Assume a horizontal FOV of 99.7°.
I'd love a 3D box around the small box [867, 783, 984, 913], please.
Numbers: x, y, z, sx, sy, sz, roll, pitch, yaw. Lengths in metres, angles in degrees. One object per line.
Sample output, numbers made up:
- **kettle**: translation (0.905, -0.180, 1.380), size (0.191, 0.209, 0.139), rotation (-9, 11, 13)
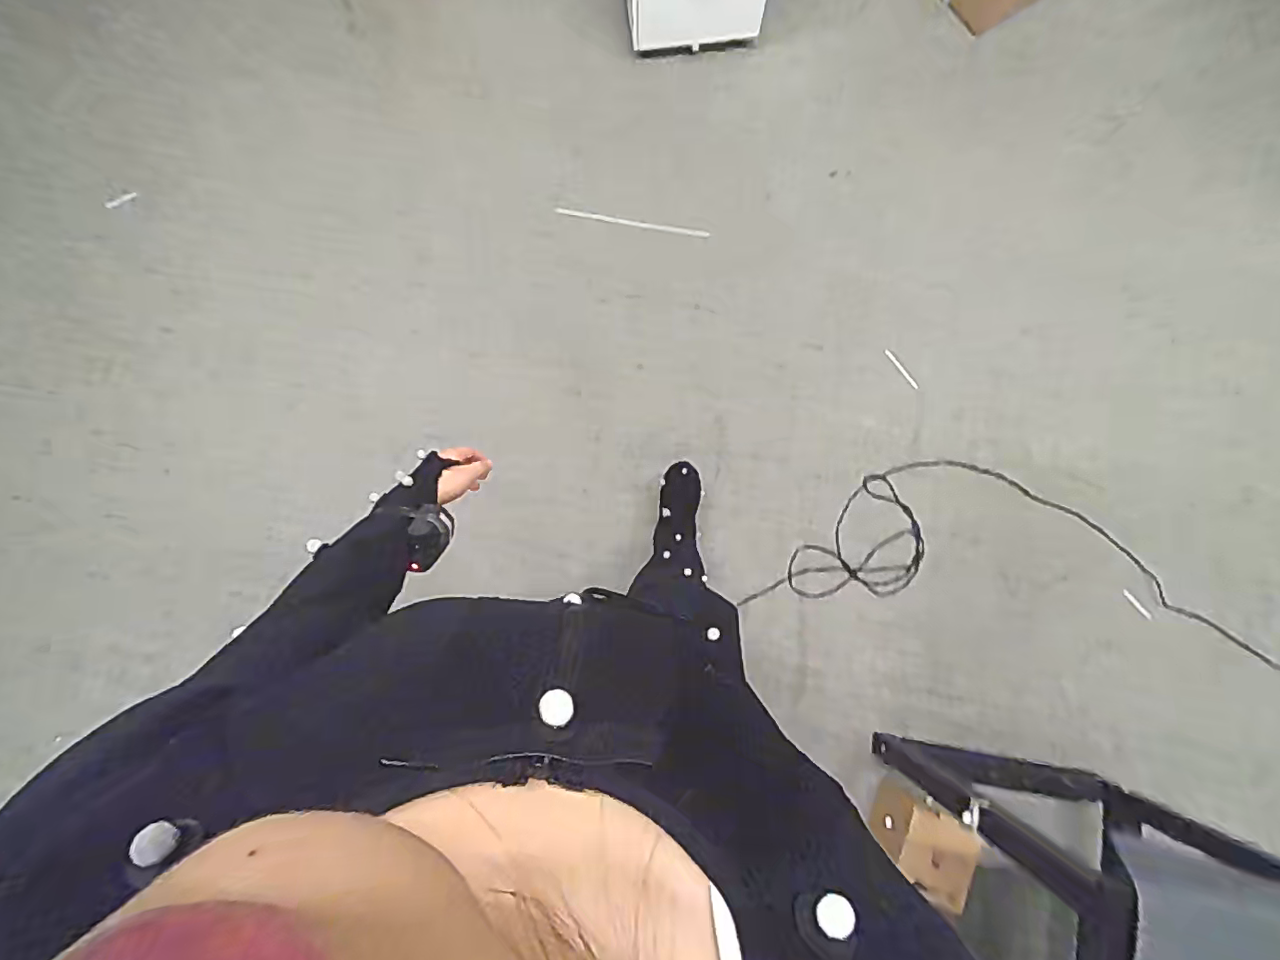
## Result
- **small box**: translation (0.671, 0.864, 1.291), size (0.168, 0.176, 0.179), rotation (22, 81, 4)
